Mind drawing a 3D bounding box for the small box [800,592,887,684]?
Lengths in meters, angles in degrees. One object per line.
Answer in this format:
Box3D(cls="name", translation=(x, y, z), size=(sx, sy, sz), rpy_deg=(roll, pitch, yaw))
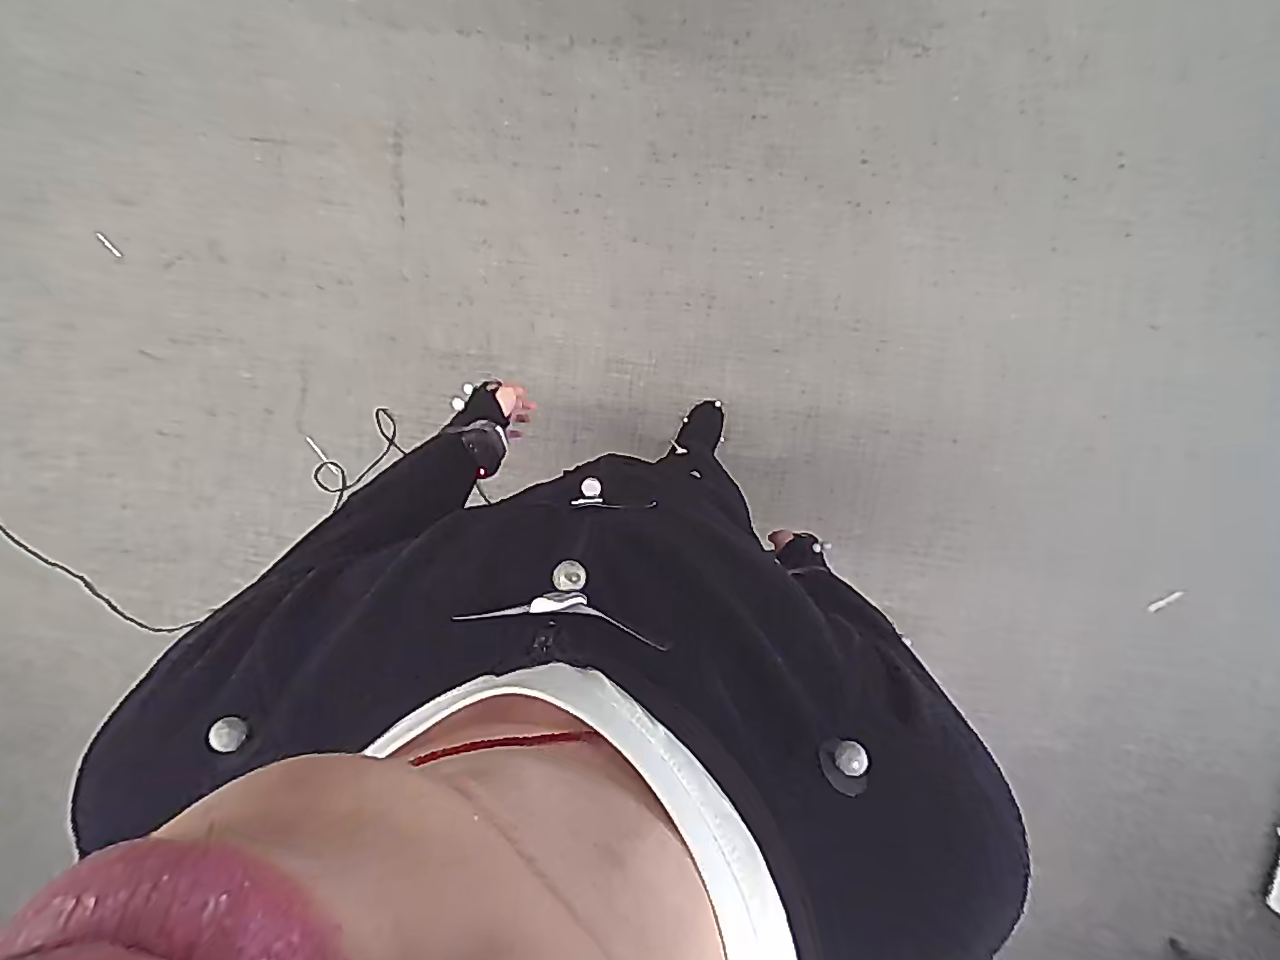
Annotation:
Box3D(cls="small box", translation=(0.548, 0.426, 1.482), size=(0.168, 0.176, 0.179), rpy_deg=(9, 97, 3))
